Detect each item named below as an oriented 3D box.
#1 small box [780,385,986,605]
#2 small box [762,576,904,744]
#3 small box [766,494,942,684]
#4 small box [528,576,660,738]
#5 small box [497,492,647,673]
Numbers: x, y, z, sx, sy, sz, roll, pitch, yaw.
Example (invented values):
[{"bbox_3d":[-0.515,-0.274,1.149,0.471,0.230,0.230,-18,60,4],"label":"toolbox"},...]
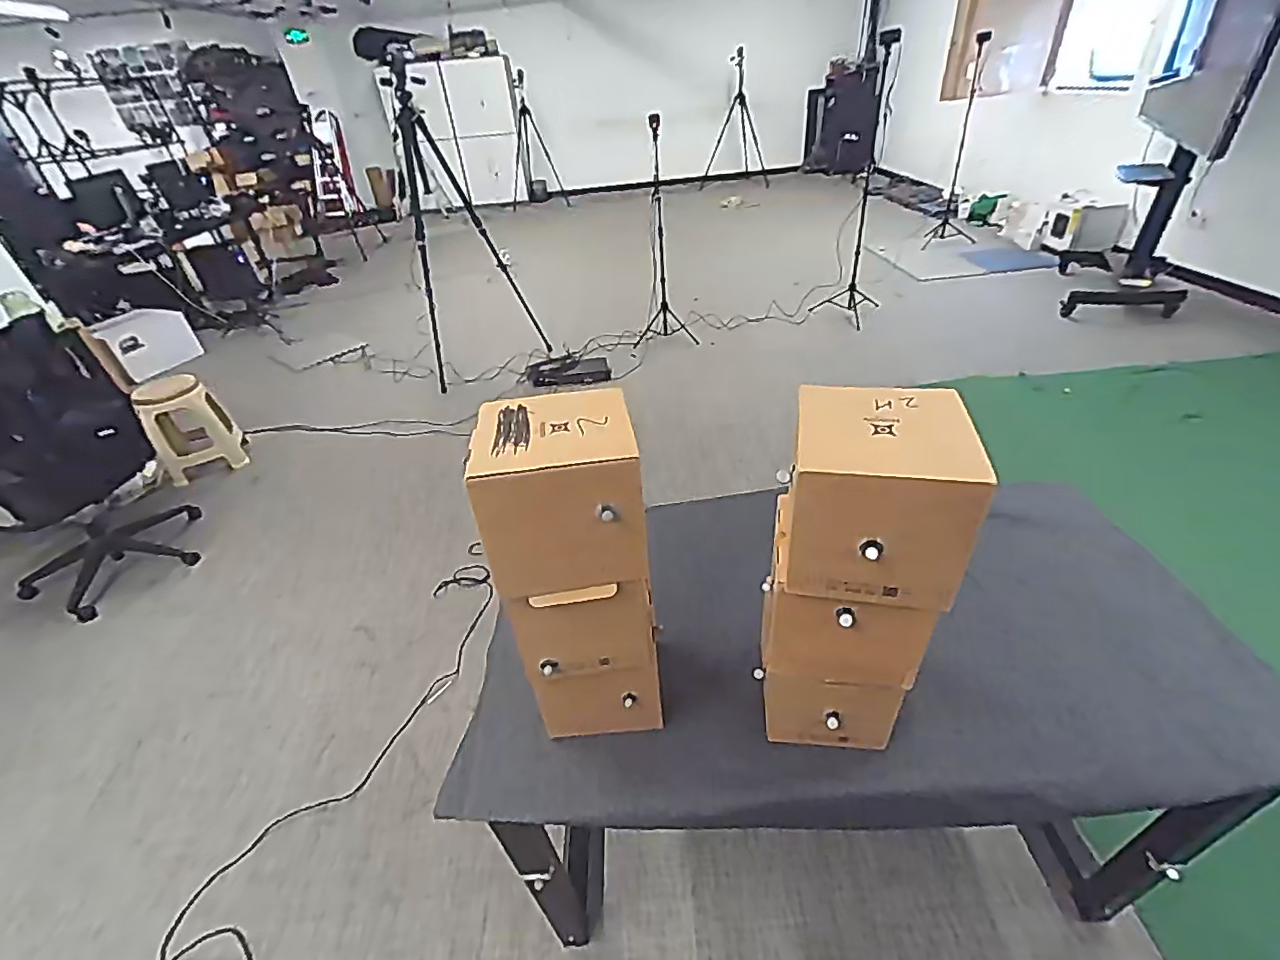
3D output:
[{"bbox_3d":[0.243,0.012,0.583,0.168,0.176,0.179,4,37,14],"label":"small box"},{"bbox_3d":[0.269,0.263,0.795,0.168,0.176,0.179,0,37,9],"label":"small box"},{"bbox_3d":[0.257,0.137,0.691,0.179,0.176,0.168,2,37,14],"label":"small box"},{"bbox_3d":[-0.062,0.273,0.835,0.179,0.176,0.168,-7,35,1],"label":"small box"},{"bbox_3d":[-0.086,0.142,0.737,0.168,0.176,0.179,-8,34,-3],"label":"small box"}]
